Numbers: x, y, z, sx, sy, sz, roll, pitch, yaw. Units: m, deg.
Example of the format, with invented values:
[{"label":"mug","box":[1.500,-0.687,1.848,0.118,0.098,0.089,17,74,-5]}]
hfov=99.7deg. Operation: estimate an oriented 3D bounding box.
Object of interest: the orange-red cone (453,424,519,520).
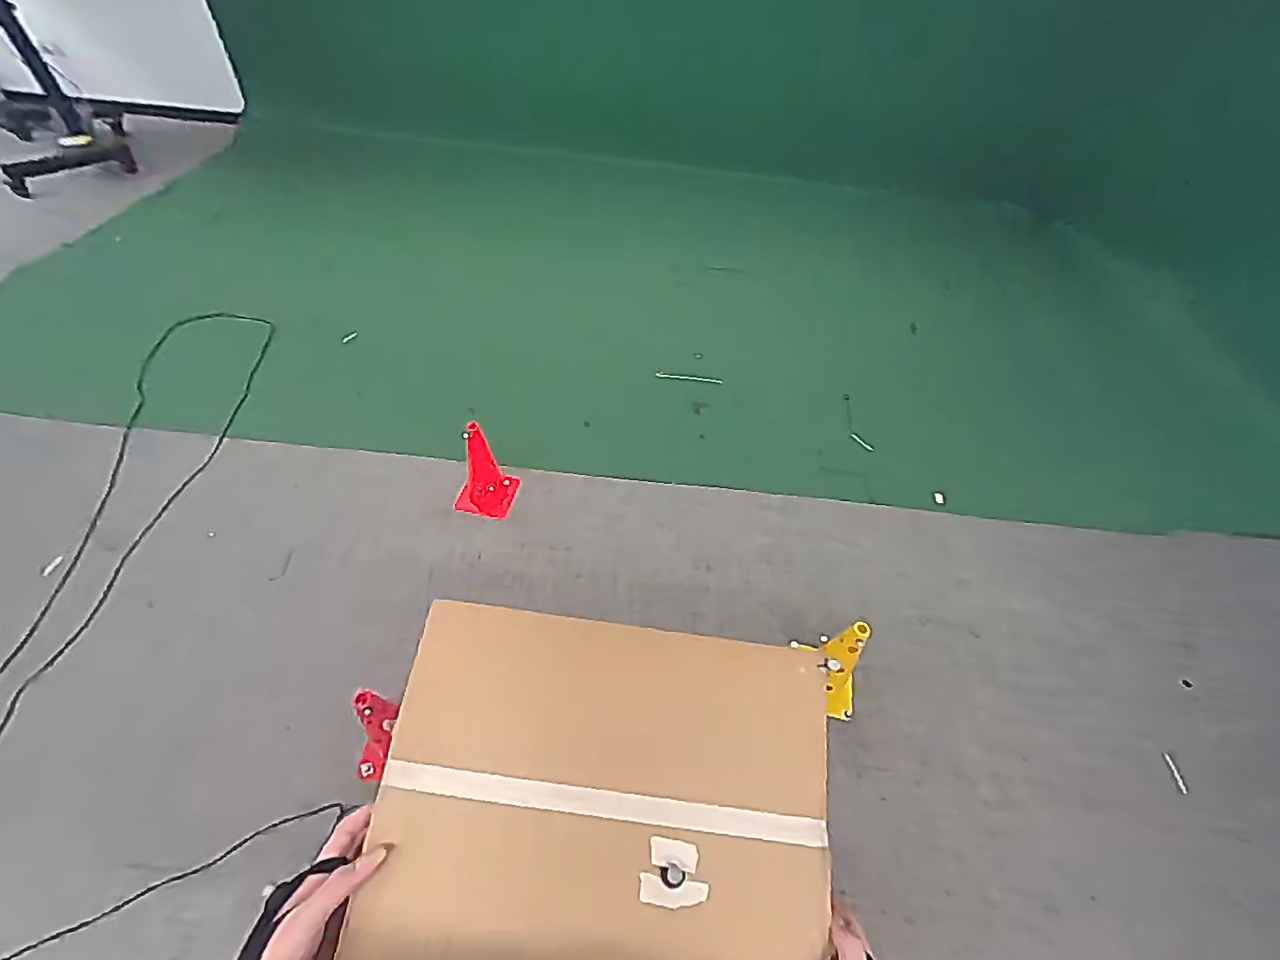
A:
[{"label":"orange-red cone","box":[-0.561,-0.053,1.881,0.199,0.360,0.198,11,49,6]}]

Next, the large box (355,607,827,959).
[{"label":"large box","box":[-0.034,0.352,0.637,0.408,0.320,0.320,8,67,0]}]
